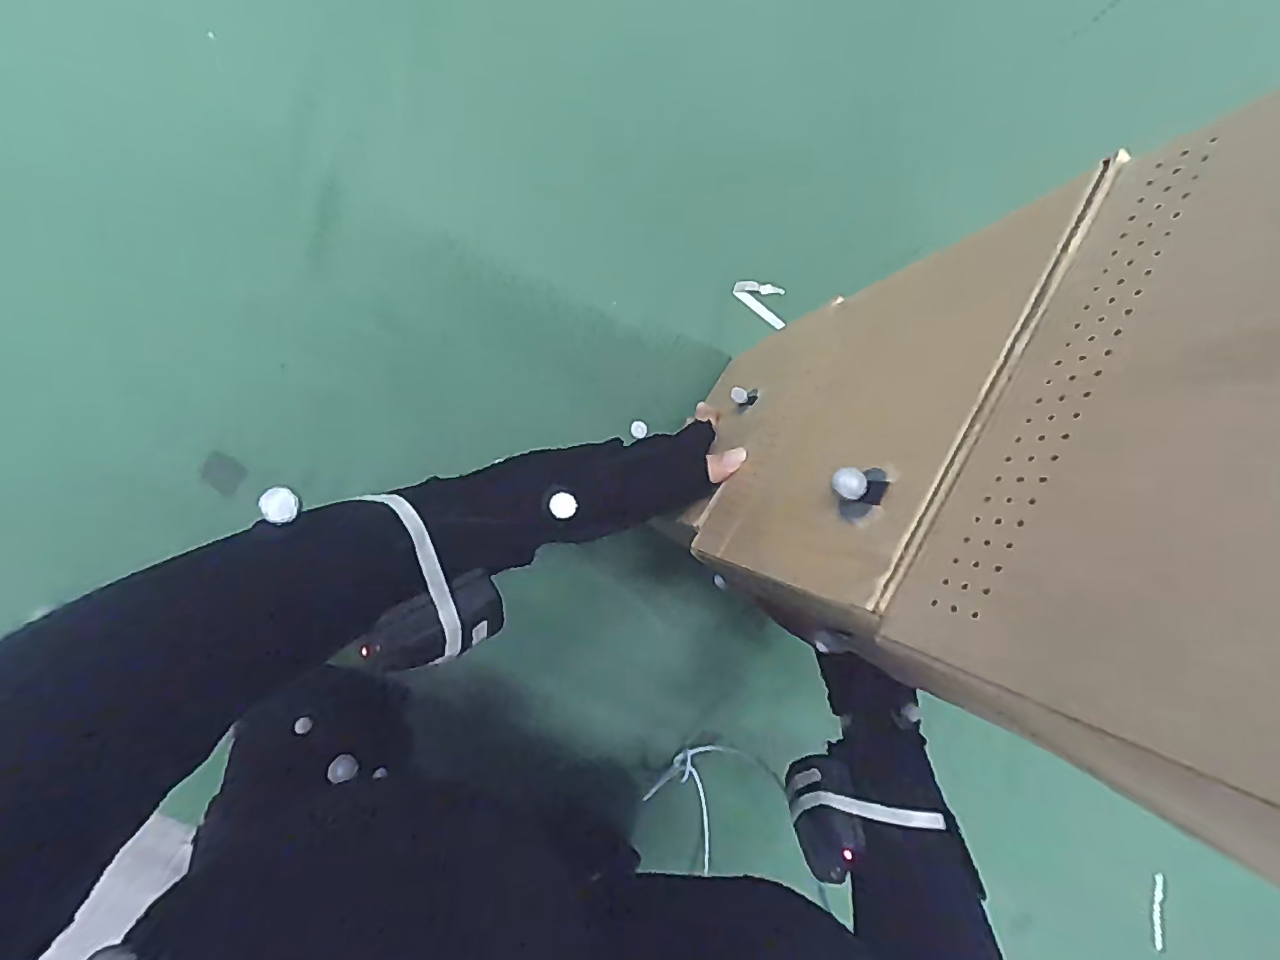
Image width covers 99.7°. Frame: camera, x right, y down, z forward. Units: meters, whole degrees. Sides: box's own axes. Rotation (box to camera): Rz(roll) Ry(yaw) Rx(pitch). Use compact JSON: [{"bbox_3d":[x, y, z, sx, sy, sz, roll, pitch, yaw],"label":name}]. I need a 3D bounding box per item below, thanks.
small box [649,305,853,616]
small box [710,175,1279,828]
[{"bbox_3d":[0.127,0.001,0.425,0.168,0.176,0.179,35,85,-11],"label":"small box"},{"bbox_3d":[0.159,0.010,0.265,0.168,0.176,0.179,32,85,-12],"label":"small box"}]
